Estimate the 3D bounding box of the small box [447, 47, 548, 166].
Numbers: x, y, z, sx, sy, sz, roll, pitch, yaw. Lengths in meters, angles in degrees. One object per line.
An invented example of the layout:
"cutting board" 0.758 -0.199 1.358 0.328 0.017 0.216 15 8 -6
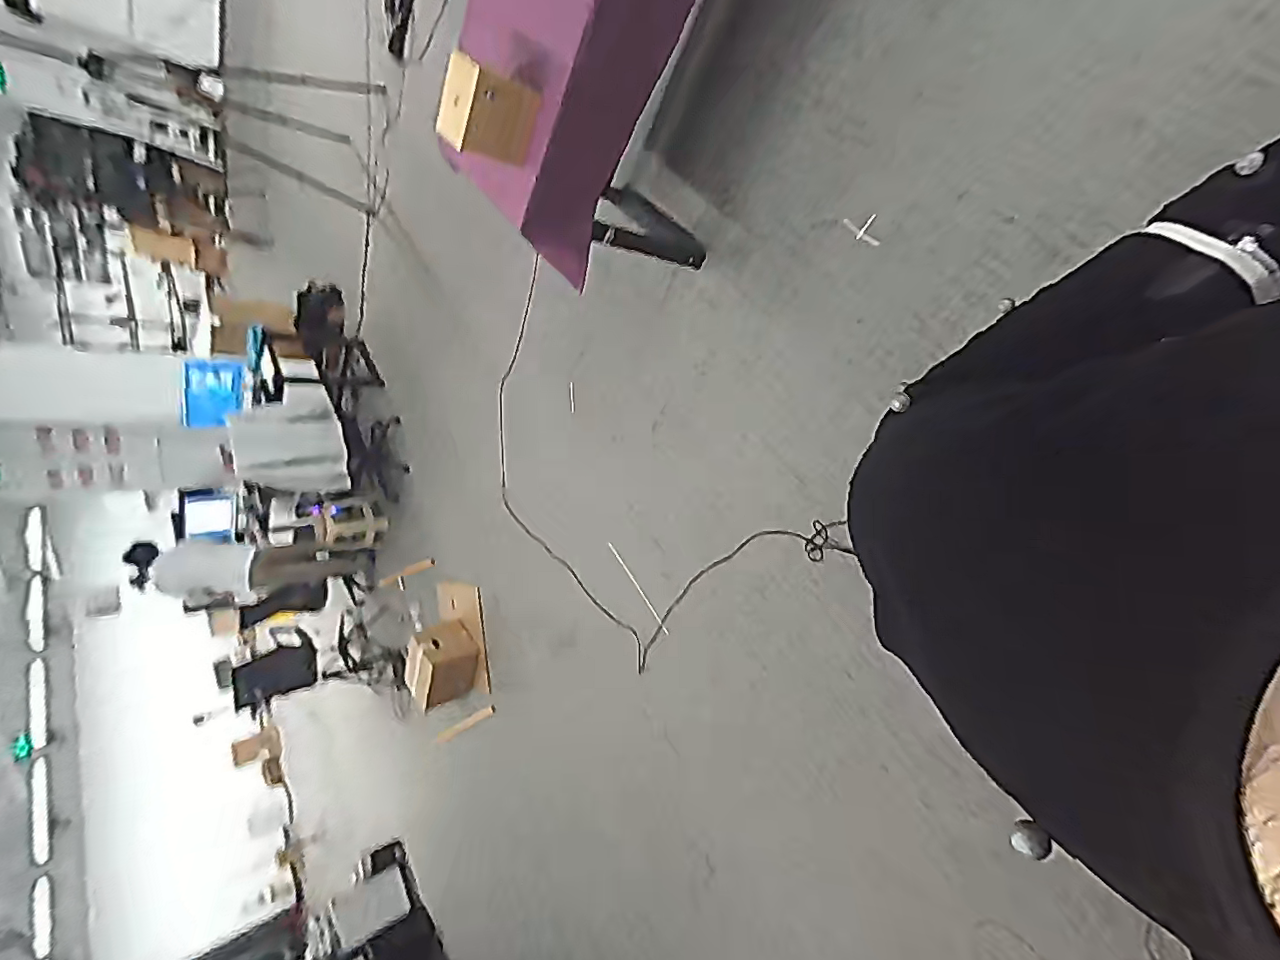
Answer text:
"small box" -0.352 -0.916 1.341 0.168 0.176 0.179 52 127 30
